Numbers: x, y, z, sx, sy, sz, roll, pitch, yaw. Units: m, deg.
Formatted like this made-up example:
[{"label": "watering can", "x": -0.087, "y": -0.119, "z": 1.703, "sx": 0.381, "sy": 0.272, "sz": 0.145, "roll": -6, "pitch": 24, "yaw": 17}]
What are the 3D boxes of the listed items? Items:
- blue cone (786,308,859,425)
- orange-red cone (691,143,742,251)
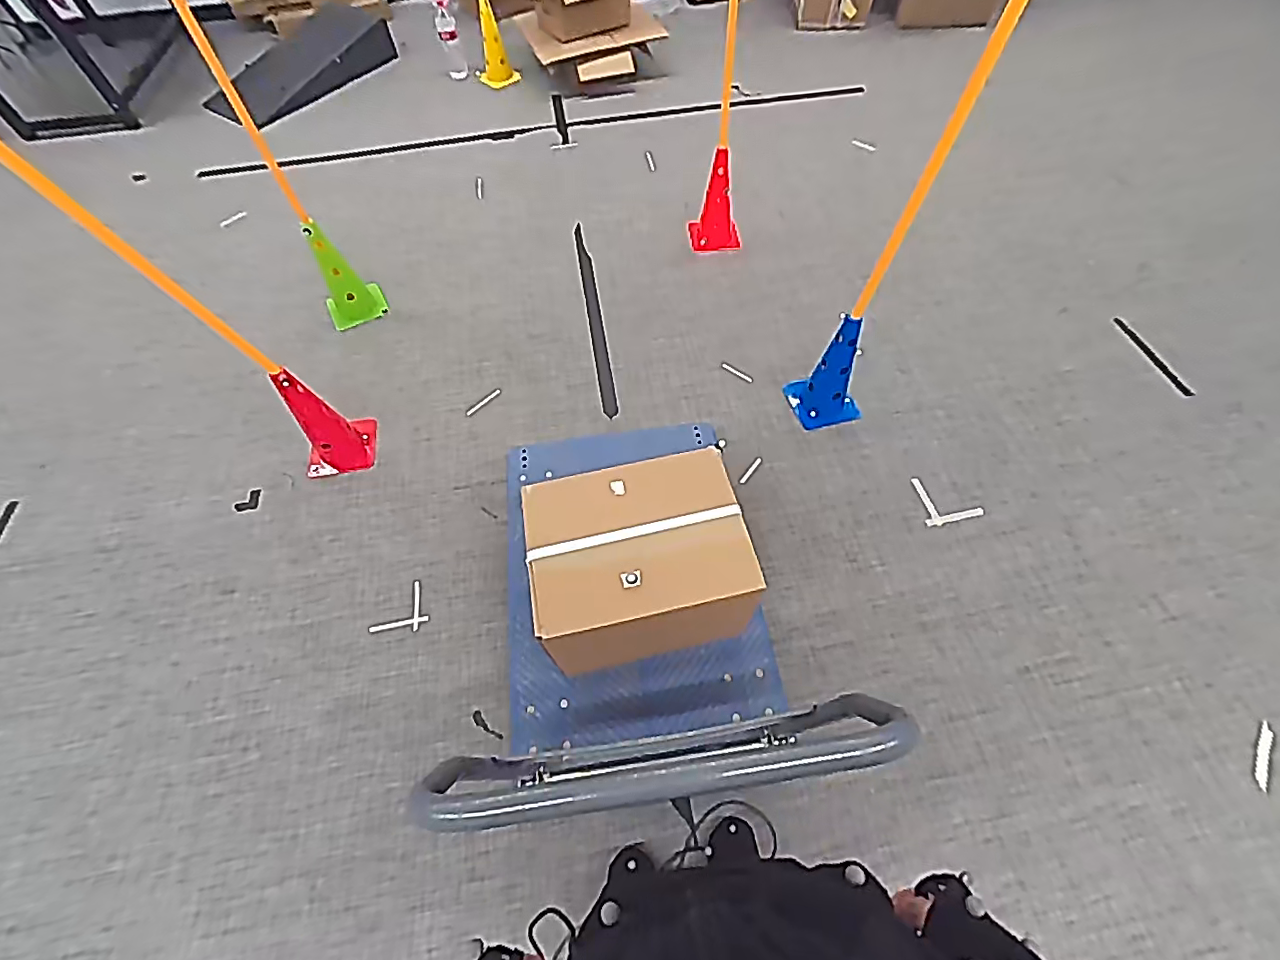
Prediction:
[{"label": "blue cone", "x": 0.590, "y": -0.350, "z": 1.627, "sx": 0.193, "sy": 0.380, "sz": 0.192, "roll": -13, "pitch": 58, "yaw": -6}, {"label": "orange-red cone", "x": 0.308, "y": -1.095, "z": 2.069, "sx": 0.199, "sy": 0.360, "sz": 0.198, "roll": -3, "pitch": 60, "yaw": -1}]
